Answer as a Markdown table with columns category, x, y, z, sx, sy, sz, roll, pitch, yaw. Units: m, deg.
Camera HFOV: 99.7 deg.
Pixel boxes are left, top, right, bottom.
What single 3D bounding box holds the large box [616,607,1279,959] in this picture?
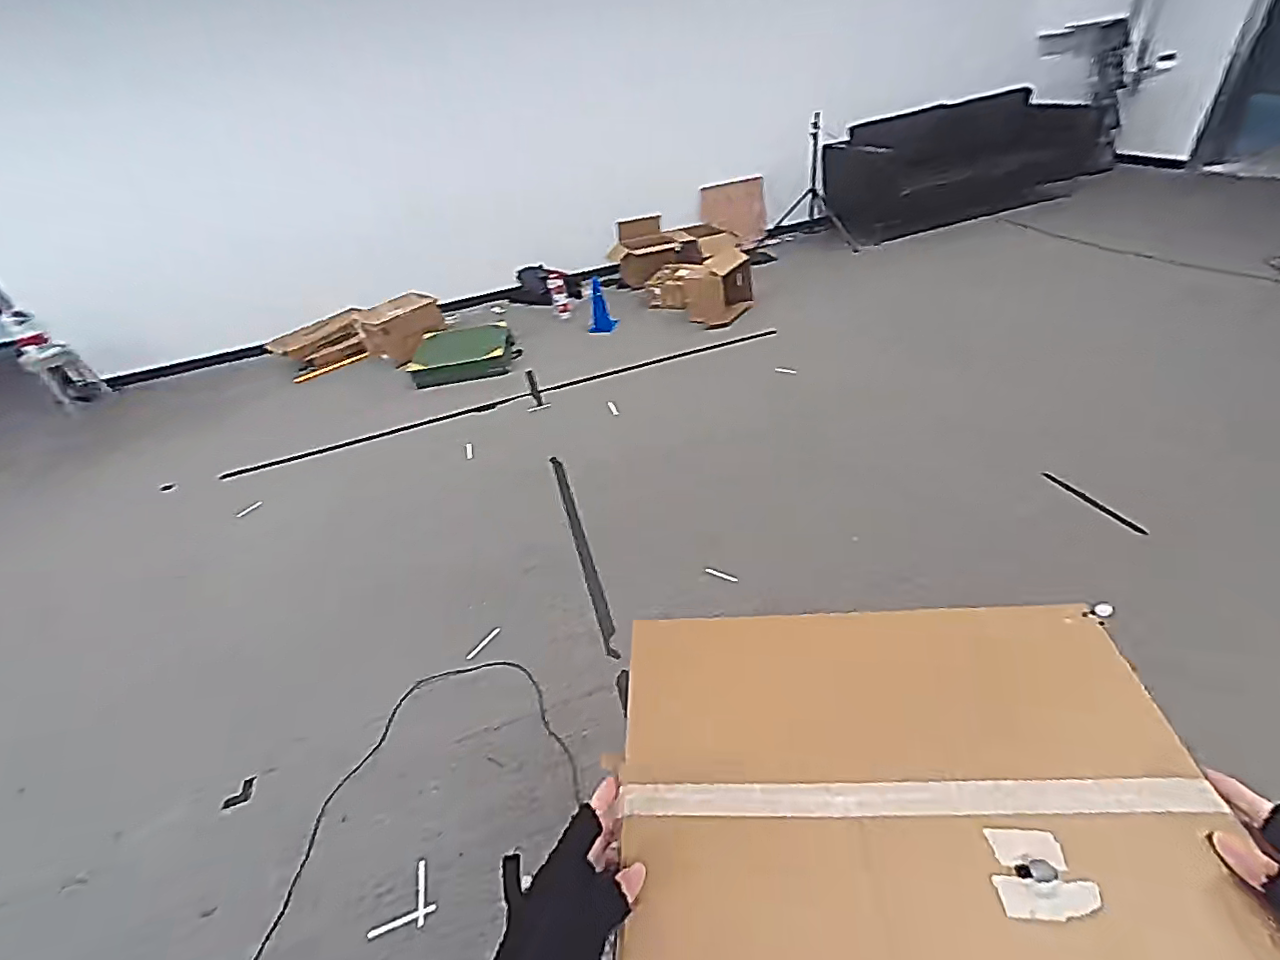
| category | x | y | z | sx | sy | sz | roll | pitch | yaw |
| --- | --- | --- | --- | --- | --- | --- | --- | --- | --- |
| large box | 0.197 | 0.345 | 0.499 | 0.408 | 0.320 | 0.320 | -4 | 42 | 5 |
